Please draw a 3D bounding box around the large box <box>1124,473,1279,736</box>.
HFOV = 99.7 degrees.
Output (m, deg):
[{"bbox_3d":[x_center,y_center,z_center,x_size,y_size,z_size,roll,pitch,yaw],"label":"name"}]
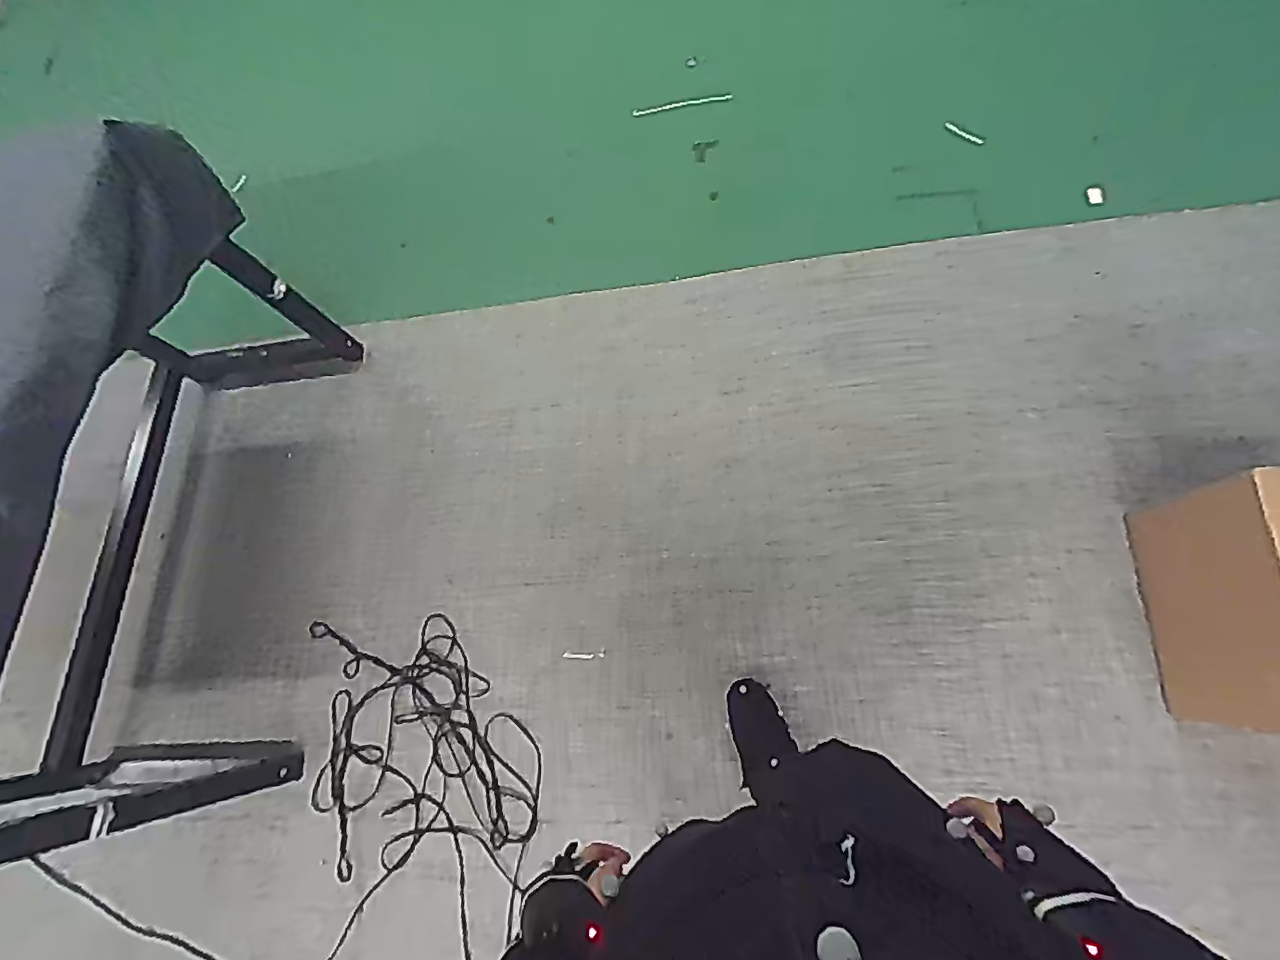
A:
[{"bbox_3d":[1.137,0.214,0.920,0.320,0.320,0.408,-2,73,11],"label":"large box"}]
